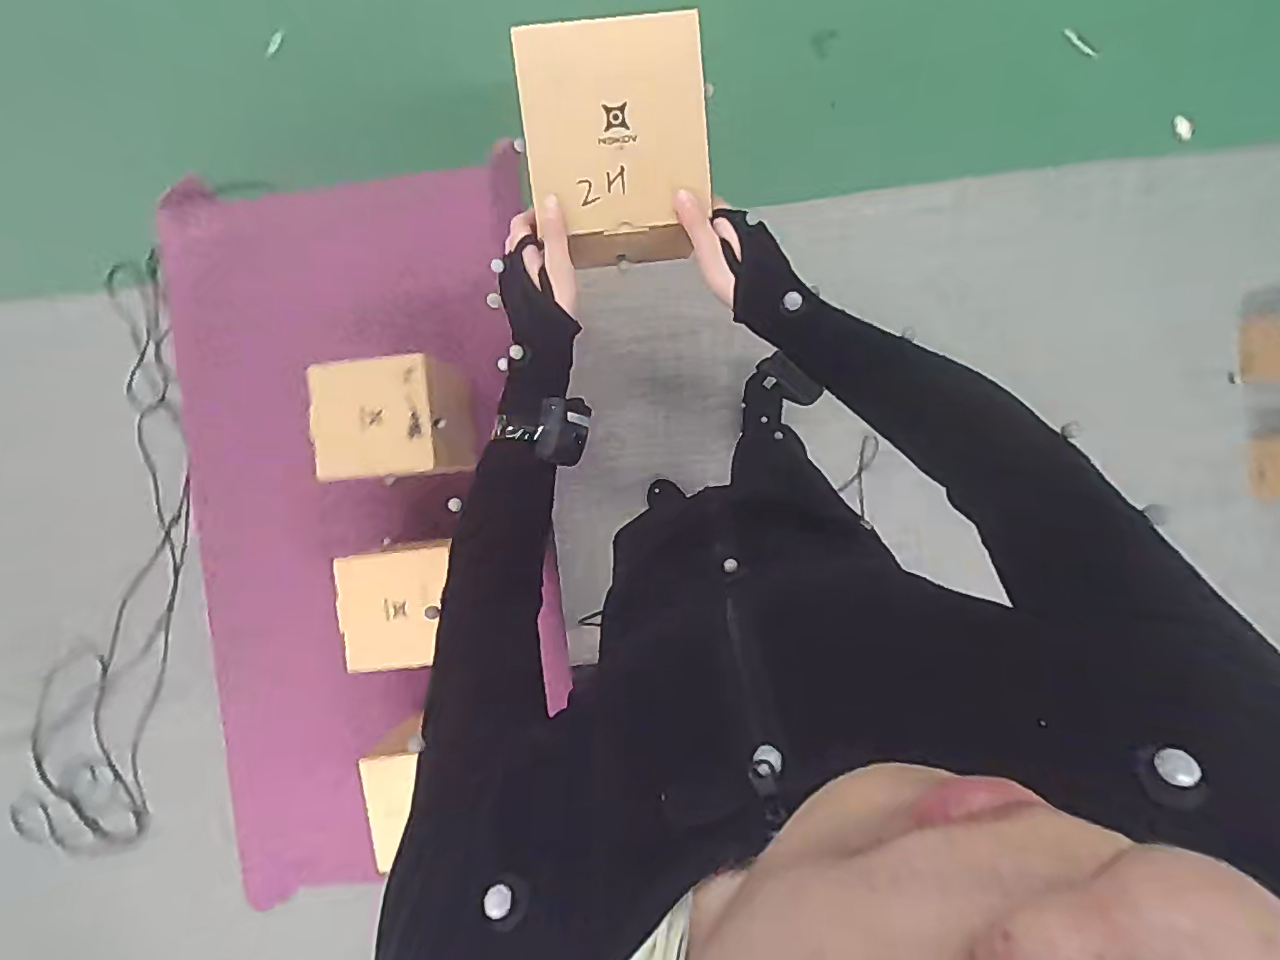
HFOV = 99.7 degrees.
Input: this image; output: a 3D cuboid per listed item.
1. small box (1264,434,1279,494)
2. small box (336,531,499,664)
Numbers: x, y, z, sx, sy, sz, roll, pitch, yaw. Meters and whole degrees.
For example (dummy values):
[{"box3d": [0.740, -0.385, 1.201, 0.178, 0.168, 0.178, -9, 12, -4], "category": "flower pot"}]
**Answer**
[{"box3d": [1.816, -0.050, 1.412, 0.179, 0.176, 0.168, -7, 91, 6], "category": "small box"}, {"box3d": [-0.344, 0.179, 0.862, 0.179, 0.176, 0.168, -7, 92, 4], "category": "small box"}]
